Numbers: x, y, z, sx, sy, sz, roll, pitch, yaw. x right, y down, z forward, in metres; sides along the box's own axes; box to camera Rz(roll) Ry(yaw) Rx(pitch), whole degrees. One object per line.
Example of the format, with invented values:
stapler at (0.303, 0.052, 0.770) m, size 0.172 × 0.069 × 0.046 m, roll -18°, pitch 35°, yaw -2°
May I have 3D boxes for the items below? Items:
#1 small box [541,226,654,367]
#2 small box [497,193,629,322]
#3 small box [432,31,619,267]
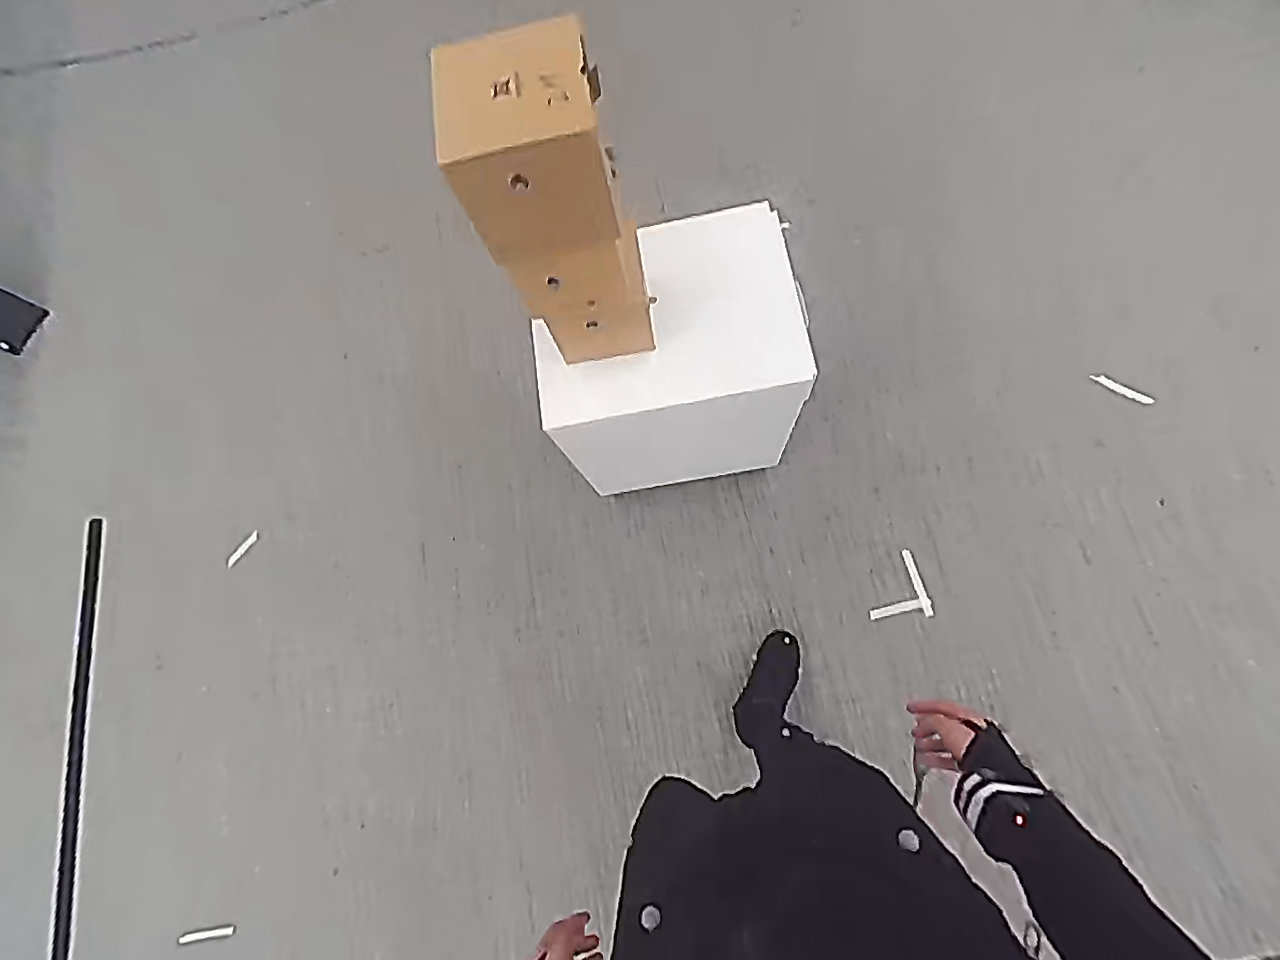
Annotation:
small box at (-0.077, -0.321, 0.982) m, size 0.179 × 0.176 × 0.168 m, roll -9°, pitch 74°, yaw 4°
small box at (-0.114, -0.360, 0.828) m, size 0.168 × 0.176 × 0.179 m, roll -7°, pitch 74°, yaw 5°
small box at (-0.133, -0.390, 0.666) m, size 0.179 × 0.176 × 0.168 m, roll -10°, pitch 74°, yaw 4°
